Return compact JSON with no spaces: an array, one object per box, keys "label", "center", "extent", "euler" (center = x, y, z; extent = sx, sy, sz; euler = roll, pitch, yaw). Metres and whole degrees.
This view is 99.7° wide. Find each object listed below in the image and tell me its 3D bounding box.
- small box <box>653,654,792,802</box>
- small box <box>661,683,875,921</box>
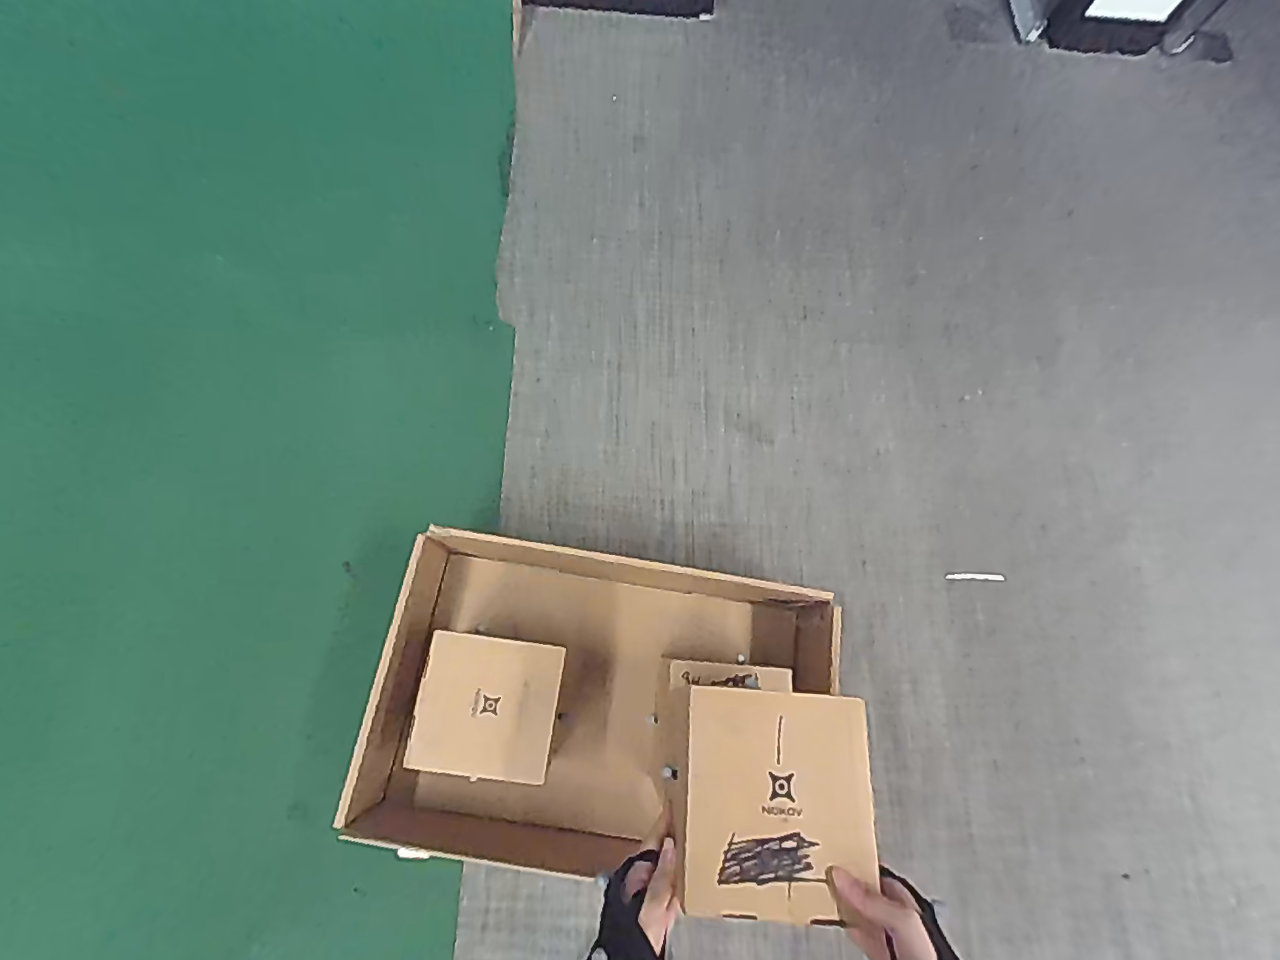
[{"label":"small box","center":[0.109,0.346,0.766],"extent":[0.168,0.176,0.179],"euler":[5,73,-2]},{"label":"small box","center":[0.112,0.304,0.544],"extent":[0.168,0.176,0.179],"euler":[4,67,-3]}]
